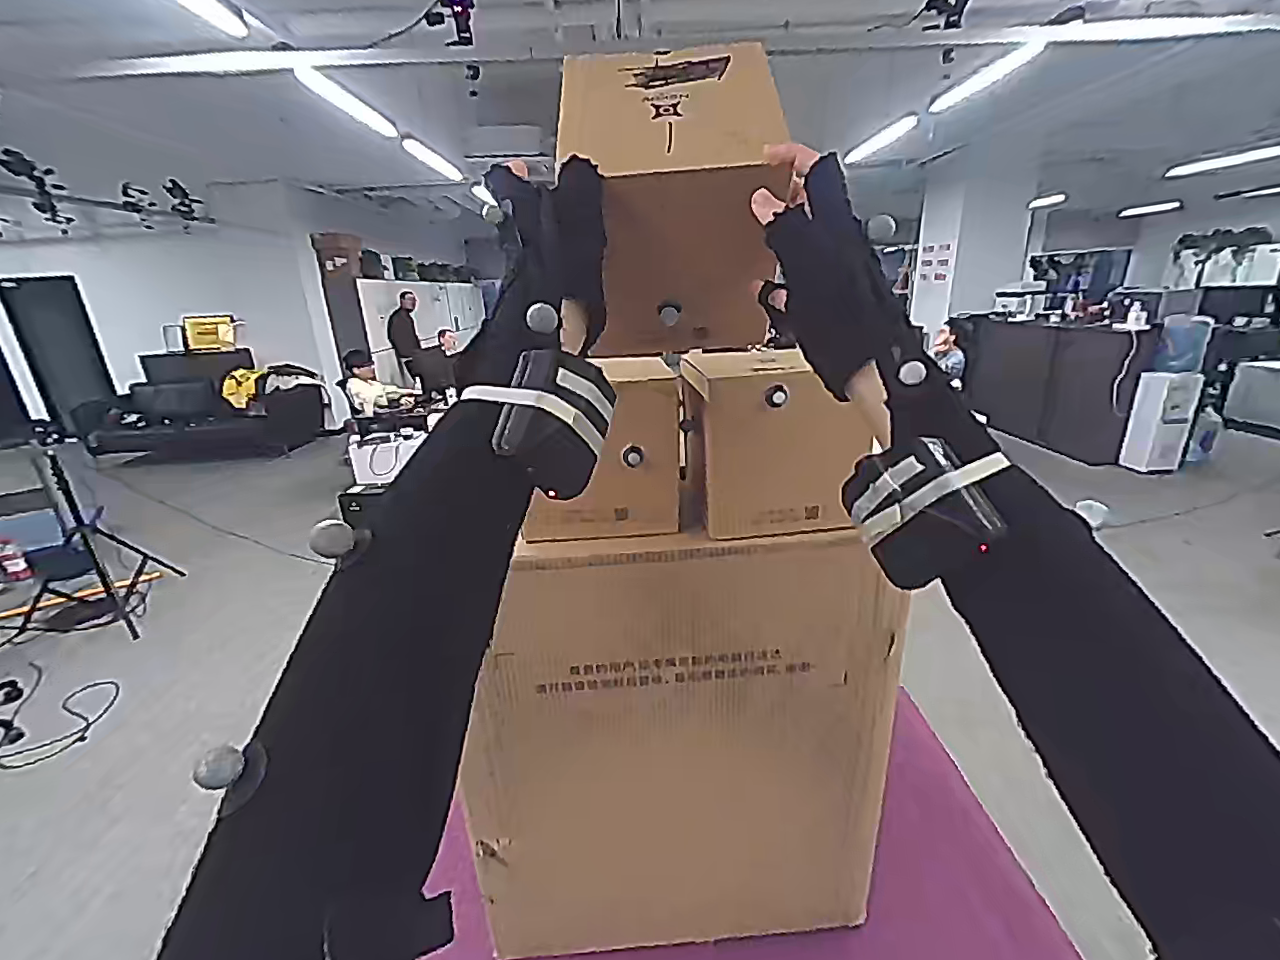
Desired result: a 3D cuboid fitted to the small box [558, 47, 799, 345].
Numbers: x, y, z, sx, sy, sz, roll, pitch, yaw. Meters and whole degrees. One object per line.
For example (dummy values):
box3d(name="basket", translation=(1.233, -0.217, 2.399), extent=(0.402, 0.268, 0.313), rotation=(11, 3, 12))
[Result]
box3d(name="small box", translation=(0.029, -0.242, 0.475), extent=(0.168, 0.176, 0.179), rotation=(-3, 57, 3))

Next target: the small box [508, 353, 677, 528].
box3d(name="small box", translation=(-0.049, -0.050, 0.616), extent=(0.168, 0.176, 0.179), rotation=(-2, 18, -5))

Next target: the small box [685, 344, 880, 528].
box3d(name="small box", translation=(0.143, -0.057, 0.605), extent=(0.168, 0.176, 0.179), rotation=(-5, 18, -3))
